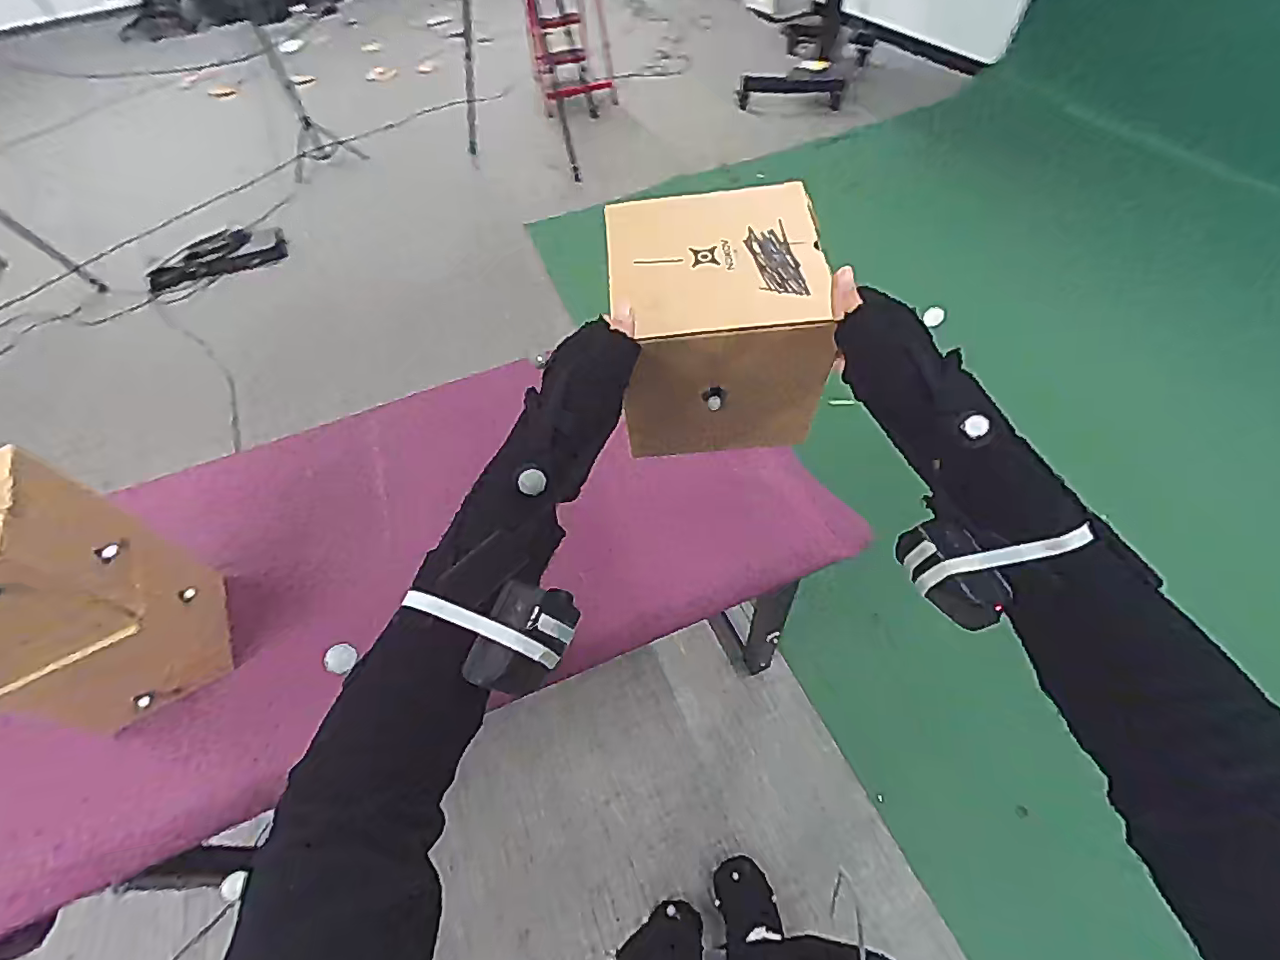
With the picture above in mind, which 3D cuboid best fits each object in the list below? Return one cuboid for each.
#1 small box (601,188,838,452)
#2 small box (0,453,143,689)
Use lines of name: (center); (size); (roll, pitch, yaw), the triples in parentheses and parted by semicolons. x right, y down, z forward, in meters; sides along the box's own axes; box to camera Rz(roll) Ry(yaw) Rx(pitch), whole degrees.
small box: (0.064, -0.139, 0.501); (0.179, 0.176, 0.168); (-2, 59, 4)
small box: (-0.707, 0.110, 0.594); (0.179, 0.176, 0.168); (-29, 57, -15)
